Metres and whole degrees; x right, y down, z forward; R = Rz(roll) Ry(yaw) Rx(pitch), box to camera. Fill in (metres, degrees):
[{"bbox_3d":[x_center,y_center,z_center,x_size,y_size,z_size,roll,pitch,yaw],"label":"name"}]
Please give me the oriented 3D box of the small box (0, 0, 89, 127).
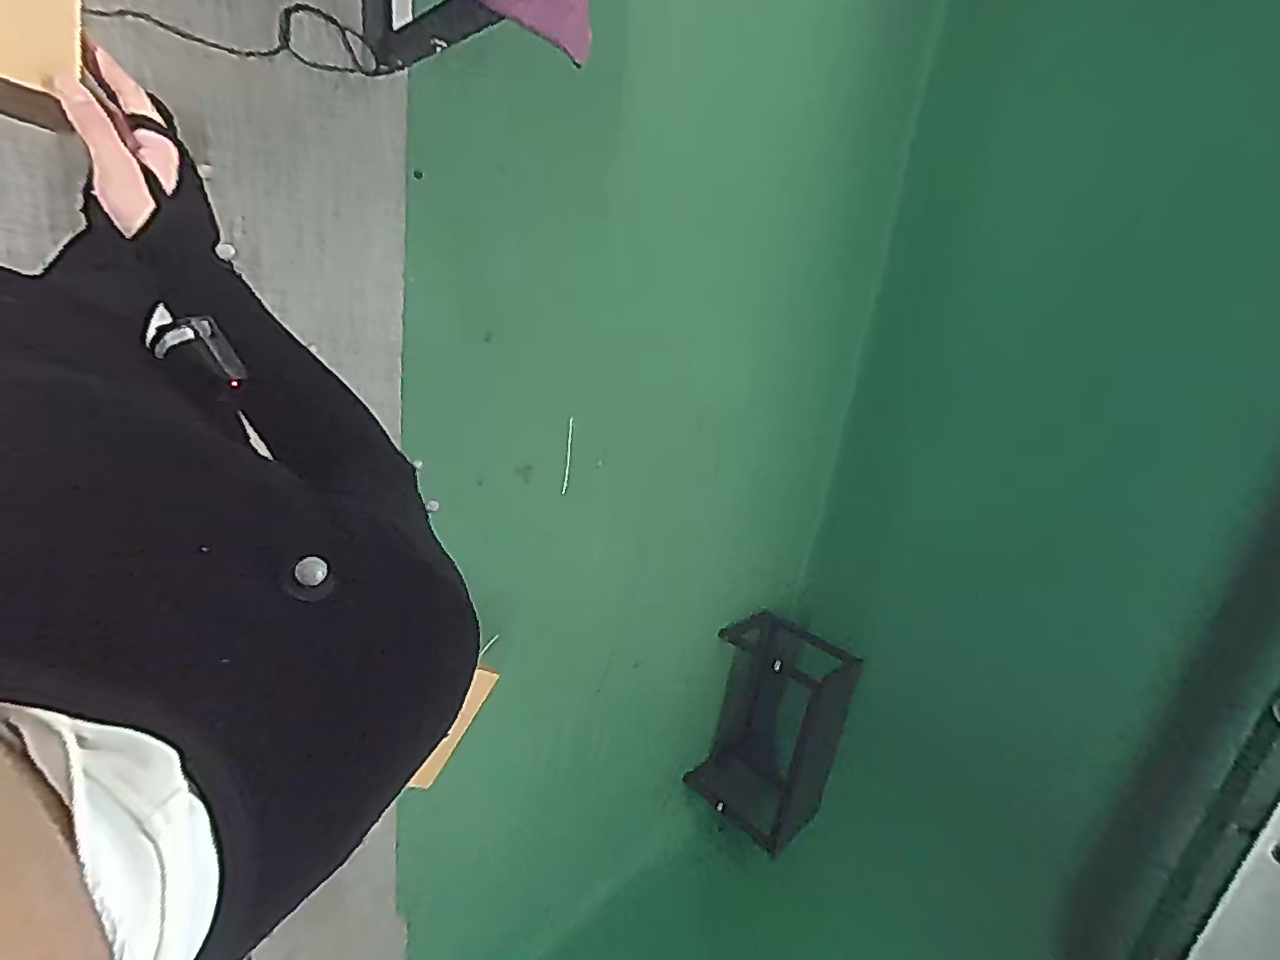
[{"bbox_3d":[-0.512,-0.389,0.384,0.168,0.176,0.179,1,106,-47],"label":"small box"}]
